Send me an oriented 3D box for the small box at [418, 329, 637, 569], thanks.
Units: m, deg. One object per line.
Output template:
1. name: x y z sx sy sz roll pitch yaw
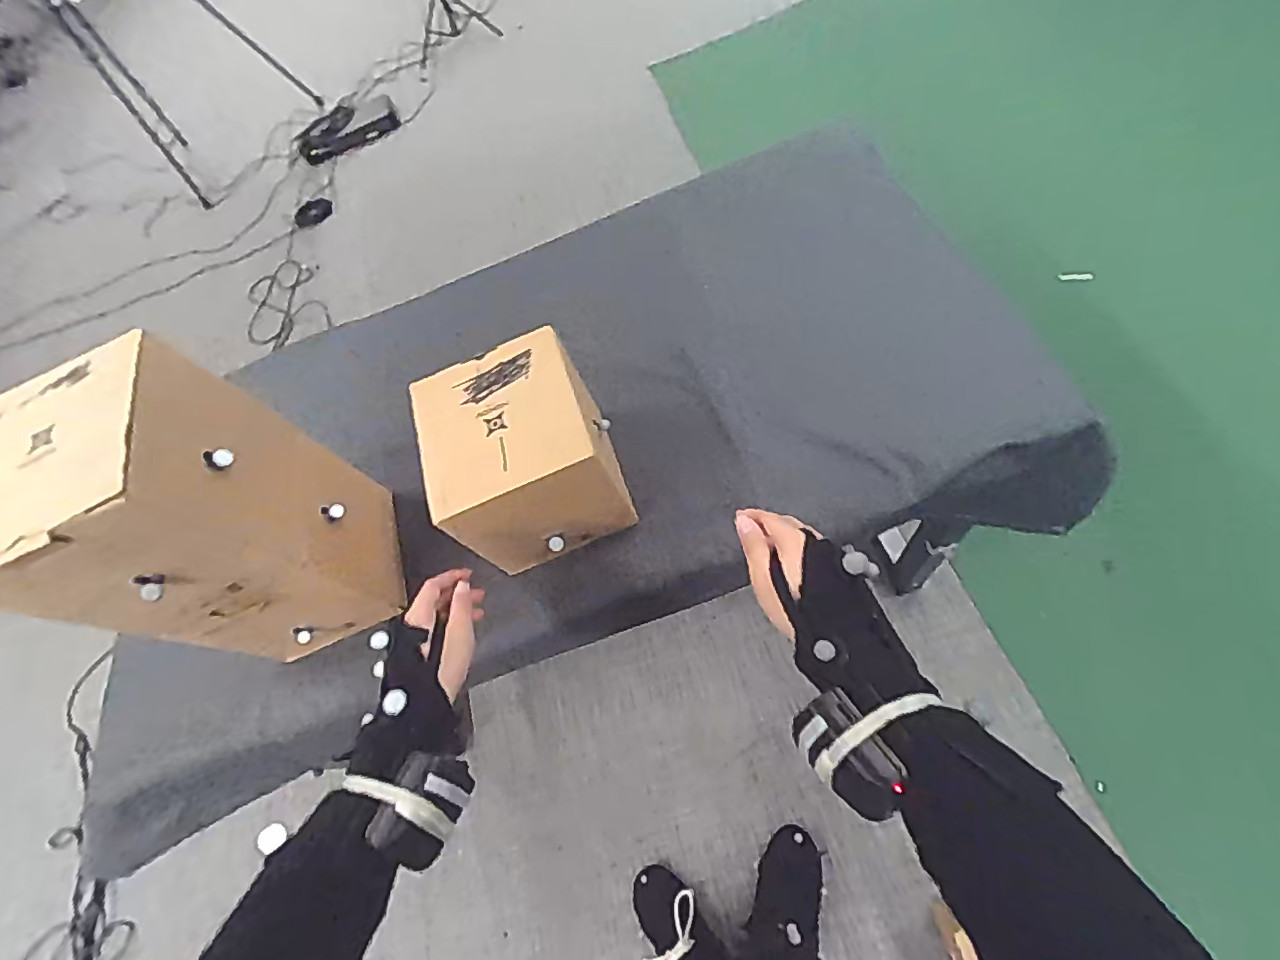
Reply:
1. small box: -0.119 -0.026 0.602 0.168 0.176 0.179 -23 60 3

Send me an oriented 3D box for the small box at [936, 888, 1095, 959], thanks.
1. small box: 0.604 0.776 0.854 0.179 0.176 0.168 -19 60 7

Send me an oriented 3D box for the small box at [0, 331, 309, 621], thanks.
1. small box: -0.428 0.012 0.481 0.168 0.176 0.179 -25 62 1

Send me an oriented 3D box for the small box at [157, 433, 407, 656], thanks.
1. small box: -0.397 0.082 0.625 0.168 0.176 0.179 -24 61 2
